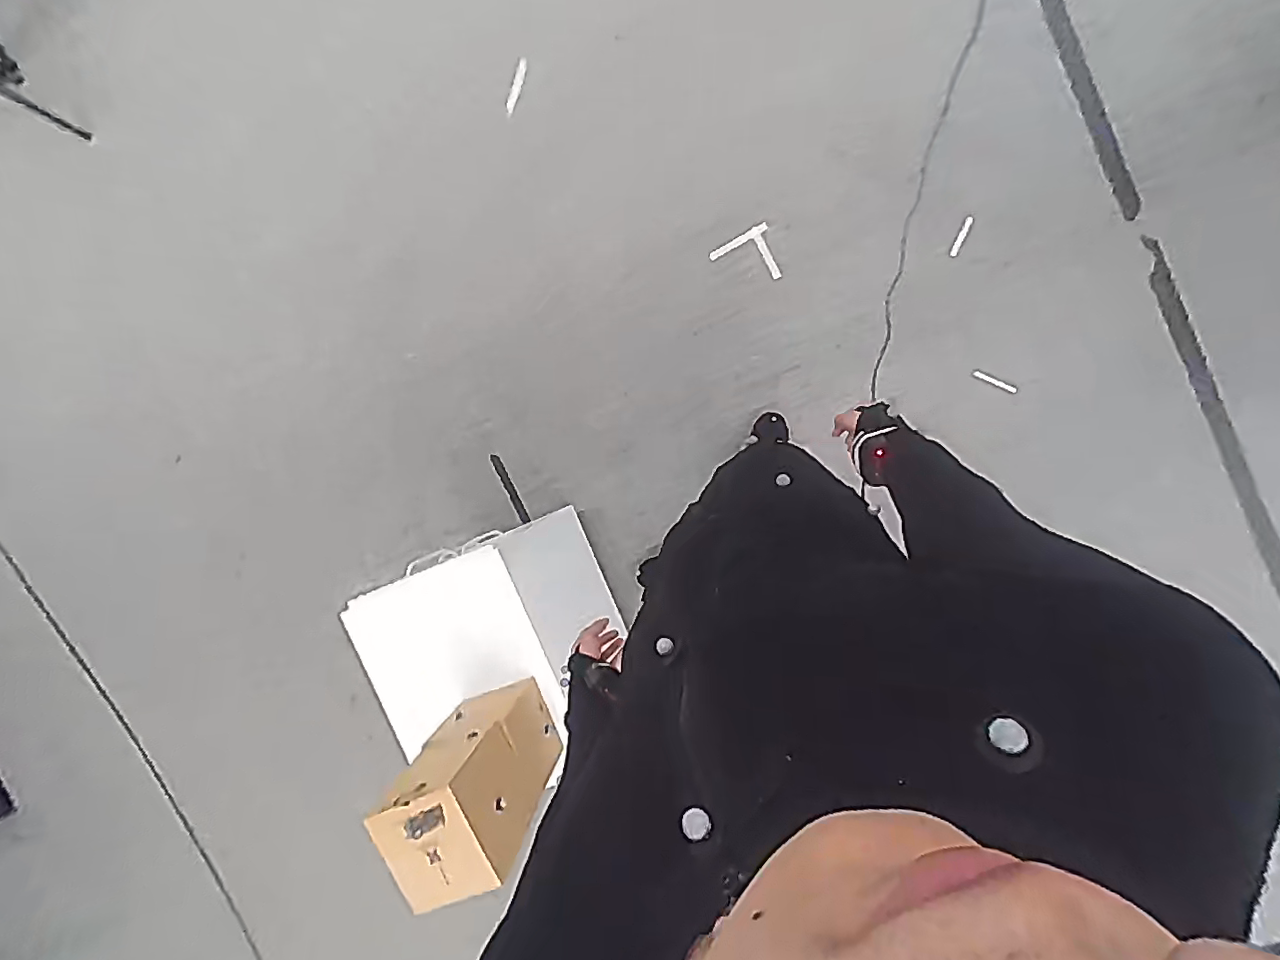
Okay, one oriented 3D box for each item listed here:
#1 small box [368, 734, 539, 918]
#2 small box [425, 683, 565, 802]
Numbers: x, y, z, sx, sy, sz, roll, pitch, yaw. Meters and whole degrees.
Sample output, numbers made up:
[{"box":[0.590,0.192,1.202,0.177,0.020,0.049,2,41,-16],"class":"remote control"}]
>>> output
[{"box":[-0.292,0.548,0.883,0.168,0.176,0.179,-26,94,12],"class":"small box"},{"box":[-0.271,0.523,1.044,0.179,0.176,0.168,-22,93,11],"class":"small box"}]
